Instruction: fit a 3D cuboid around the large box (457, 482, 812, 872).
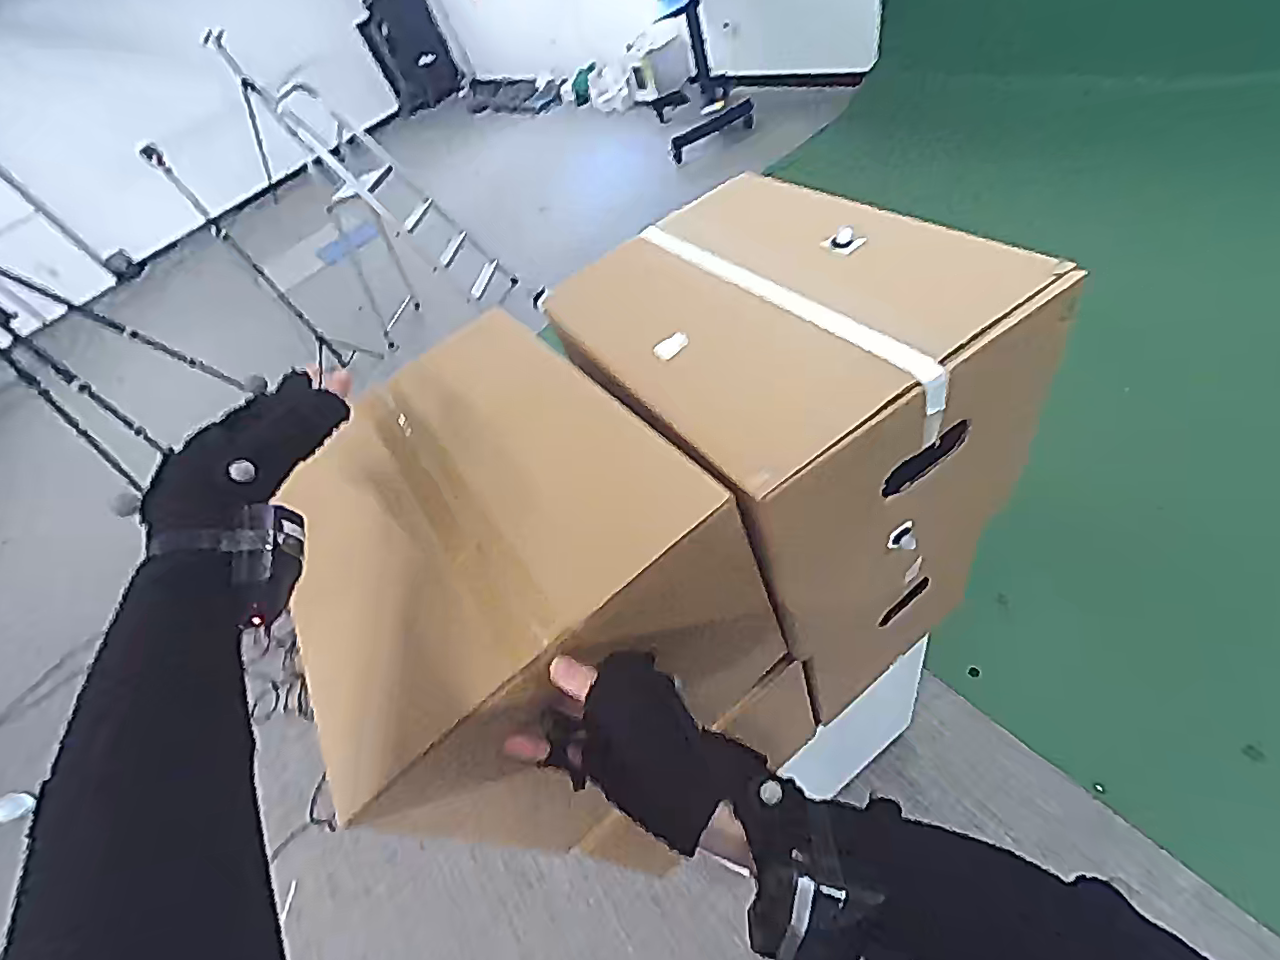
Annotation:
[{"bbox_3d":[-0.006,0.281,0.822,0.320,0.320,0.408,-37,46,-12],"label":"large box"}]
